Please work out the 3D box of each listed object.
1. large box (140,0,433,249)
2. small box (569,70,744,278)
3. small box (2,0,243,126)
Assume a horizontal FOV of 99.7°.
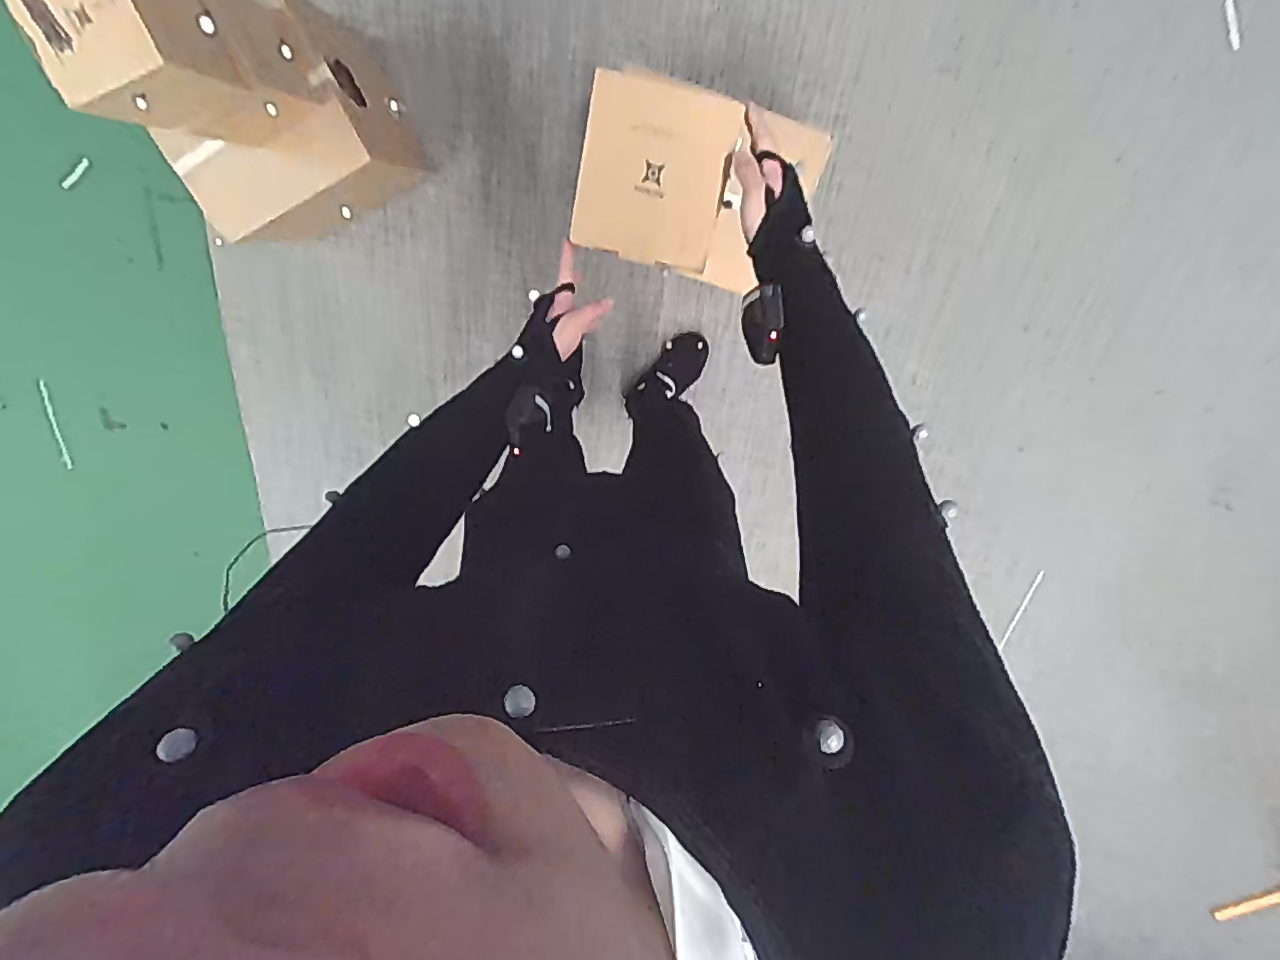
[{"bbox_3d":[-0.759,-0.757,1.199,0.408,0.320,0.320,-20,111,15],"label":"large box"},{"bbox_3d":[0.020,-0.367,0.678,0.168,0.176,0.179,14,114,-2],"label":"small box"},{"bbox_3d":[-0.748,-0.649,0.794,0.179,0.176,0.168,-14,113,11],"label":"small box"}]
